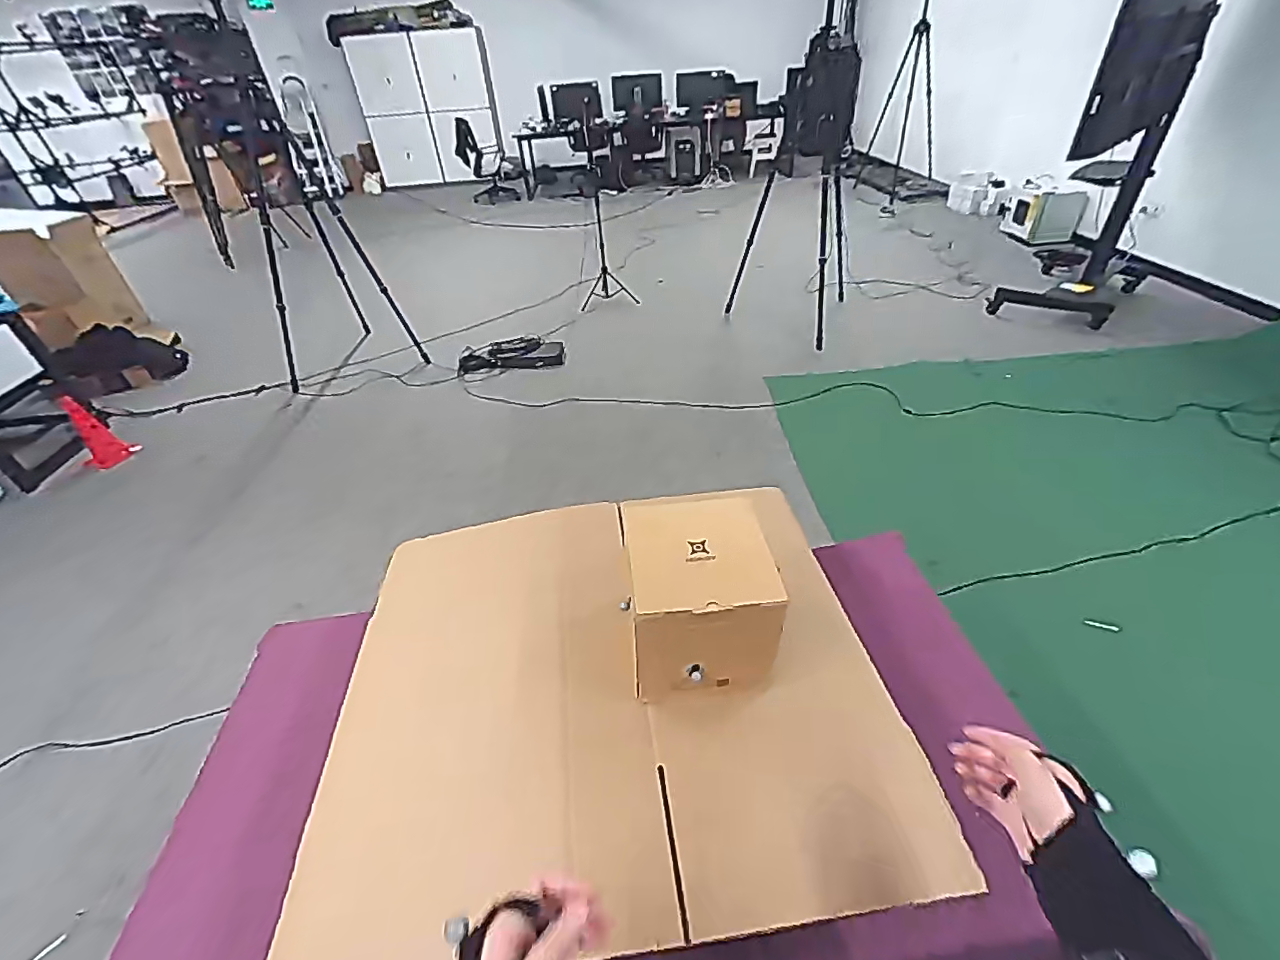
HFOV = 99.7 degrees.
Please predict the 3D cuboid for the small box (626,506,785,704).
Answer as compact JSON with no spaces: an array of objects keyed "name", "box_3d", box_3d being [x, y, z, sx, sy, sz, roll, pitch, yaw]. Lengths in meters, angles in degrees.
[{"name":"small box","box_3d":[0.069,0.156,0.686,0.168,0.176,0.179,-5,39,-3]}]
